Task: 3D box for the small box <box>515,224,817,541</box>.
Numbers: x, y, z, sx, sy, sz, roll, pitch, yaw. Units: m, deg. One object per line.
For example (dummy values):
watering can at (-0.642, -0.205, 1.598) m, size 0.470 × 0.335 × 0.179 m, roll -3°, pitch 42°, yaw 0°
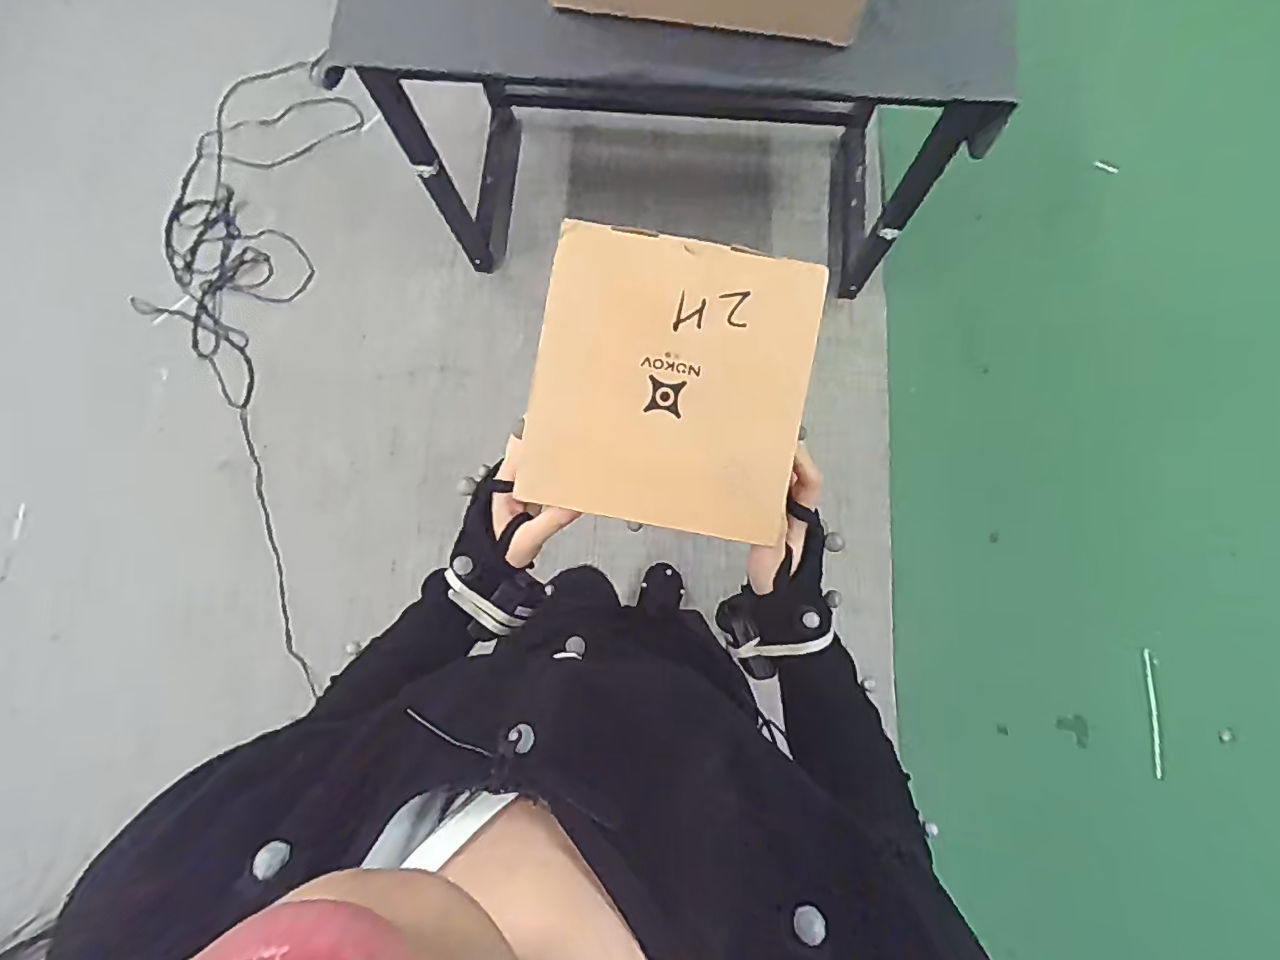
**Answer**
small box at (0.017, -0.062, 0.416) m, size 0.168 × 0.176 × 0.179 m, roll 10°, pitch 91°, yaw 1°
